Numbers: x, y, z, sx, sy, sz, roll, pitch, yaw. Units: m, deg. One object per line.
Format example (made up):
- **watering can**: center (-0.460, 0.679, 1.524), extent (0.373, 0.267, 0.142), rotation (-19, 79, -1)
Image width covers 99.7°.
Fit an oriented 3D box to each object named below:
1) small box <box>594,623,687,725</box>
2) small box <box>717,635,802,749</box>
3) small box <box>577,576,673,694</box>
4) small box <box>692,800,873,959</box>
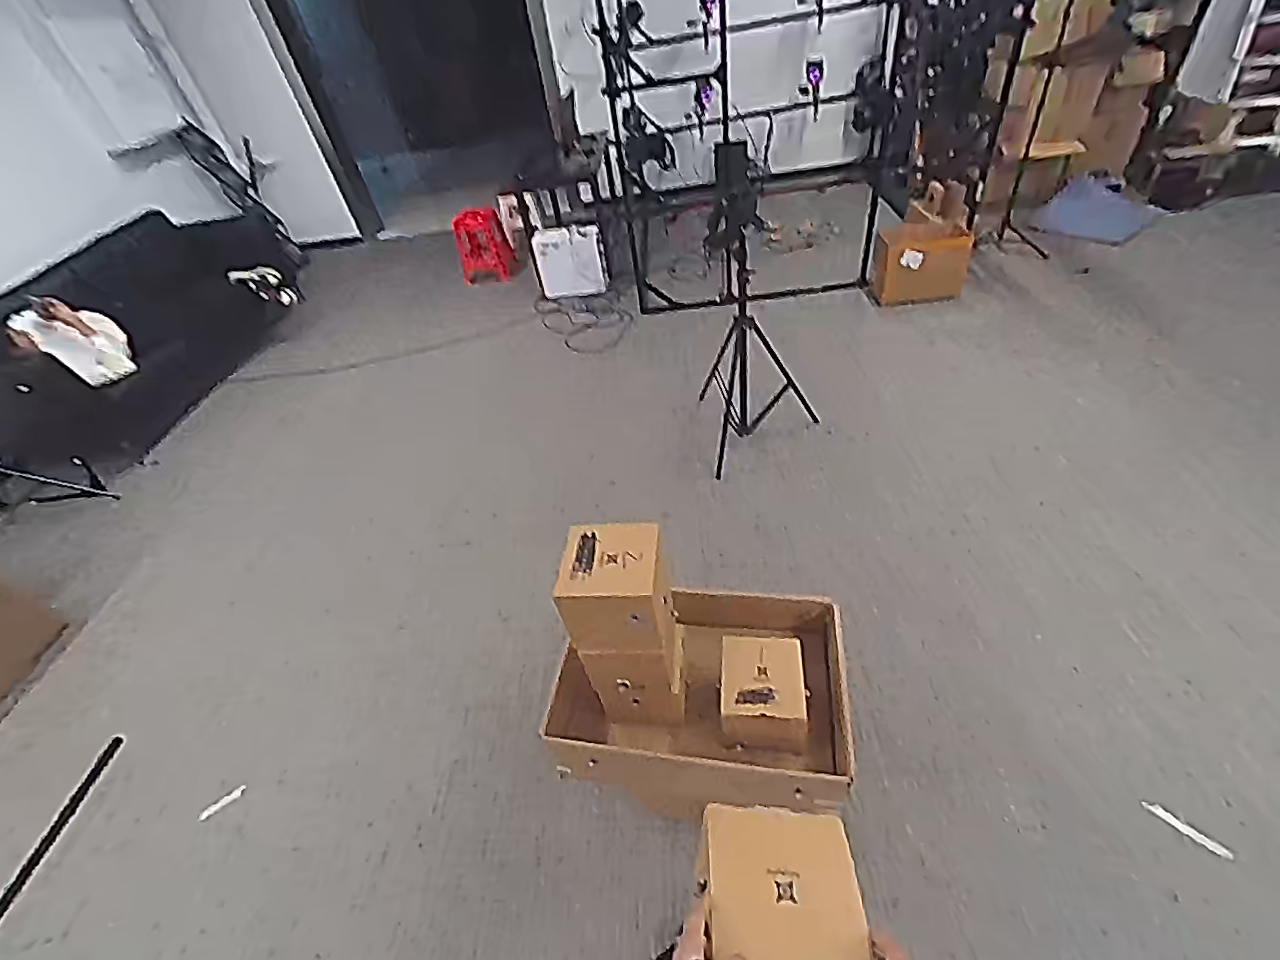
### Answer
- **small box**: center (0.009, 0.438, 1.228), extent (0.179, 0.176, 0.168), rotation (-1, 44, 10)
- **small box**: center (0.255, 0.456, 1.159), extent (0.168, 0.176, 0.179), rotation (-1, 43, 11)
- **small box**: center (-0.023, 0.319, 1.120), extent (0.168, 0.176, 0.179), rotation (-3, 43, 9)
- **small box**: center (0.150, 0.512, 0.625), extent (0.168, 0.176, 0.179), rotation (5, 25, 2)
